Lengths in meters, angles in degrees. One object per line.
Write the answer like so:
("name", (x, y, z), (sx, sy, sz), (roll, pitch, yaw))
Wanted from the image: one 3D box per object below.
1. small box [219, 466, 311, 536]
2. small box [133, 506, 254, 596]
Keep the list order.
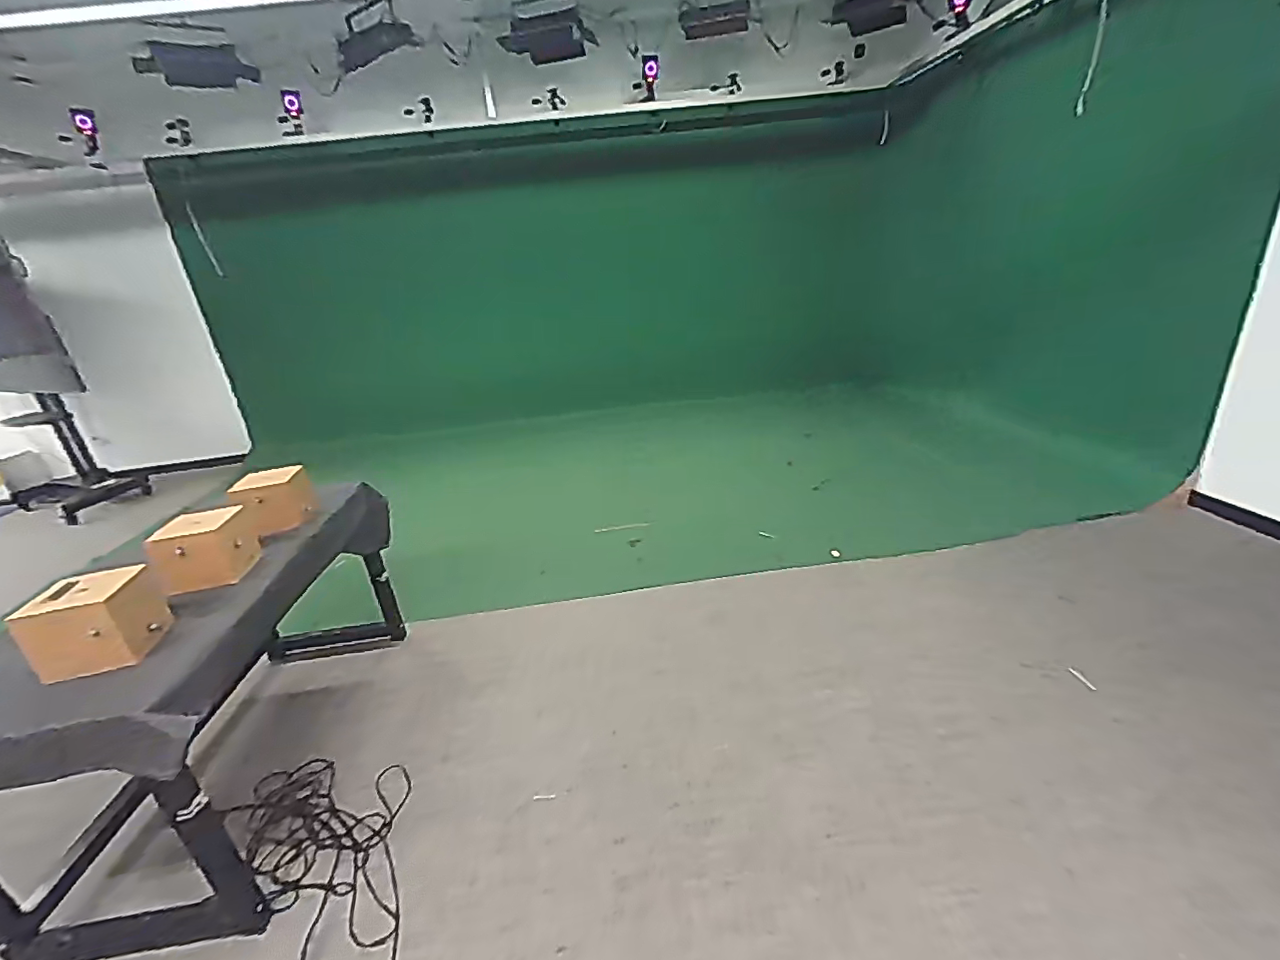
("small box", (-1.231, 0.071, 1.787), (0.179, 0.176, 0.168), (-10, 24, -11))
("small box", (-1.211, 0.194, 1.486), (0.179, 0.176, 0.168), (-10, 23, -9))
